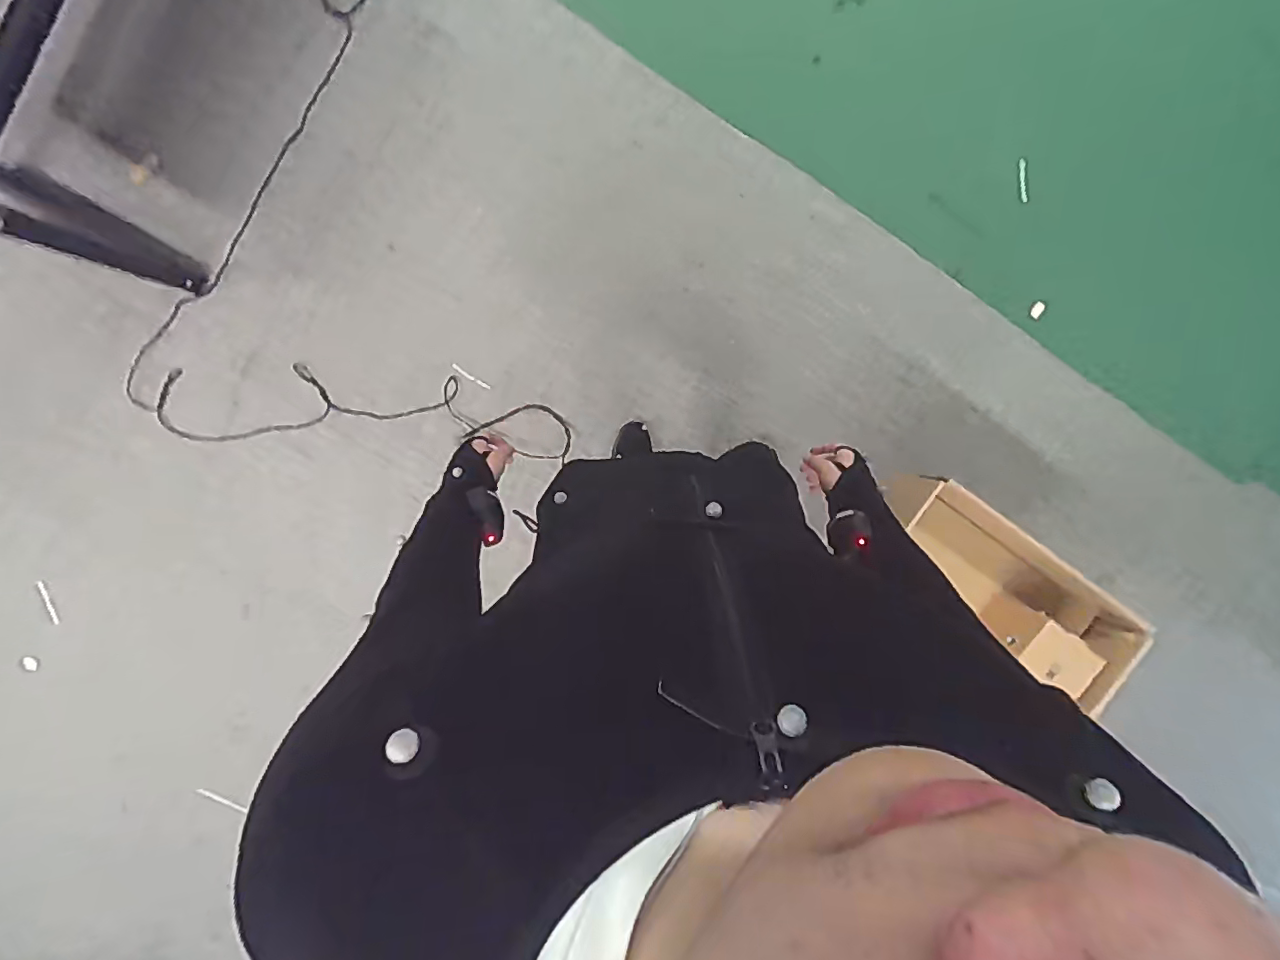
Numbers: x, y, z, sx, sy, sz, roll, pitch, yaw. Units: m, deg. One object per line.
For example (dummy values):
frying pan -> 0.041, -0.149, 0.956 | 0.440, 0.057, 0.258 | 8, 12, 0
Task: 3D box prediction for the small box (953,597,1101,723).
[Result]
small box -> 0.857, 0.394, 1.217 | 0.168, 0.176, 0.179 | 37, 94, -6
